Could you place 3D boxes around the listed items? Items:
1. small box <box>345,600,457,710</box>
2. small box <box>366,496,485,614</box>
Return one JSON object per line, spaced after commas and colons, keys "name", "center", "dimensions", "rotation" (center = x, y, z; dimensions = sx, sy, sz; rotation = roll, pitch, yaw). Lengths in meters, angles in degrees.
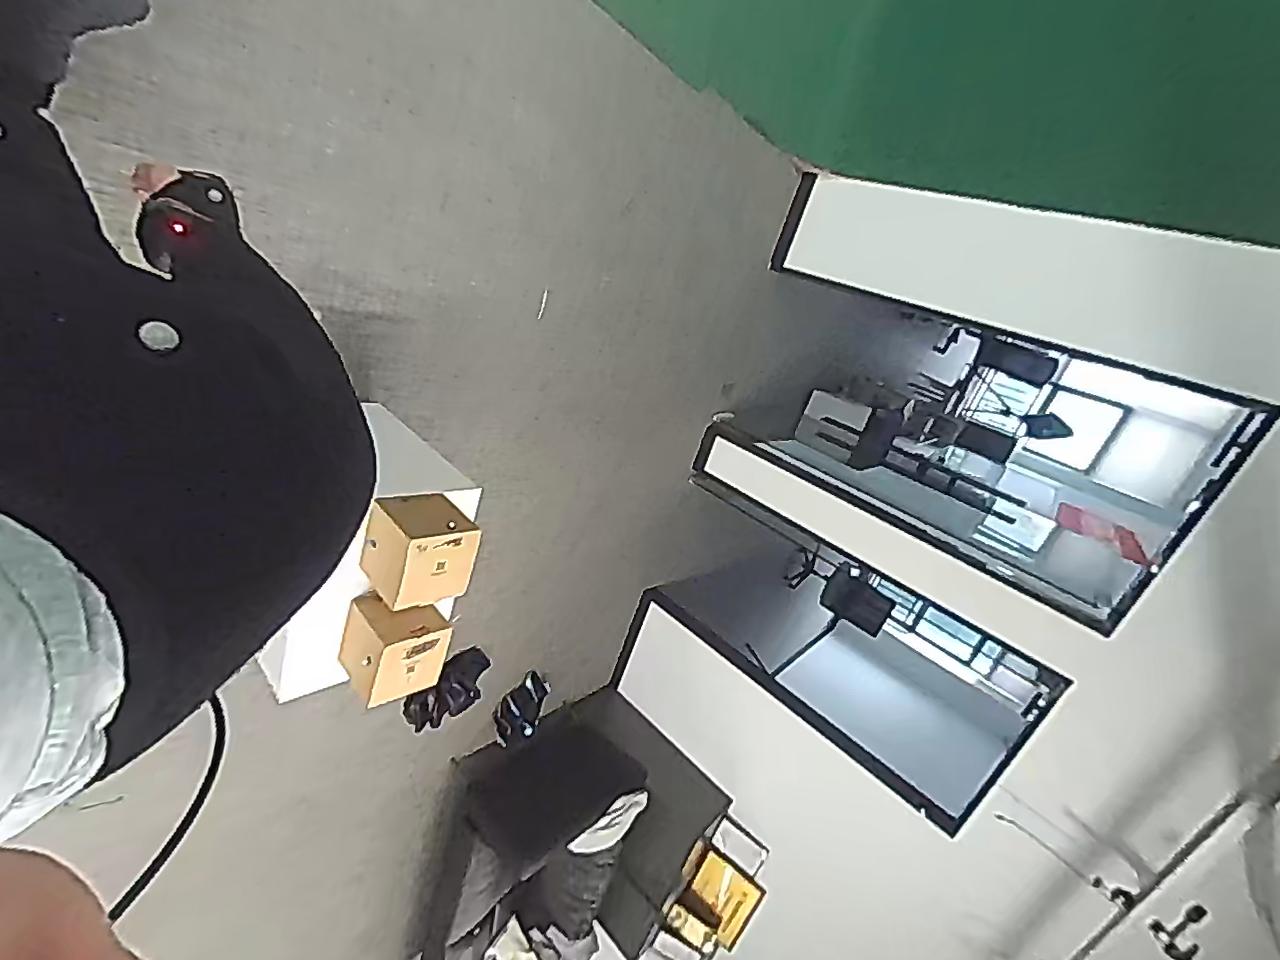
{"name": "small box", "center": [-0.555, 0.385, 1.250], "dimensions": [0.168, 0.176, 0.179], "rotation": [-3, 120, -52]}
{"name": "small box", "center": [-0.467, 0.154, 1.169], "dimensions": [0.168, 0.176, 0.179], "rotation": [-5, 123, -51]}
